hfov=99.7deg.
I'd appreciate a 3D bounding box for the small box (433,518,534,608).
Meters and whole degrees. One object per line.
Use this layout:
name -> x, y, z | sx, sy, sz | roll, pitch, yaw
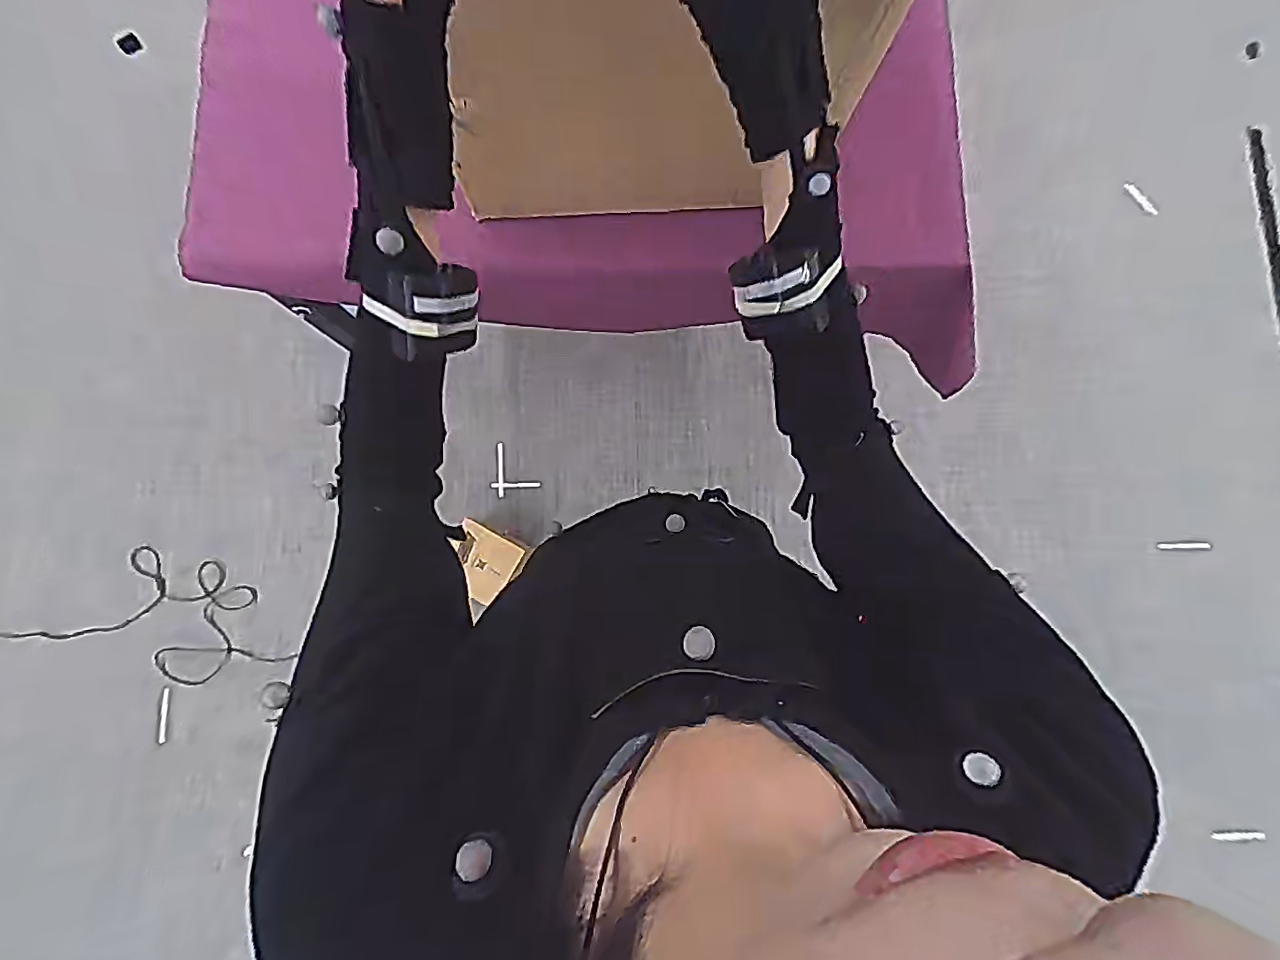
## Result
small box -> -0.399, 0.214, 1.408 | 0.179, 0.176, 0.168 | 30, 83, 0
